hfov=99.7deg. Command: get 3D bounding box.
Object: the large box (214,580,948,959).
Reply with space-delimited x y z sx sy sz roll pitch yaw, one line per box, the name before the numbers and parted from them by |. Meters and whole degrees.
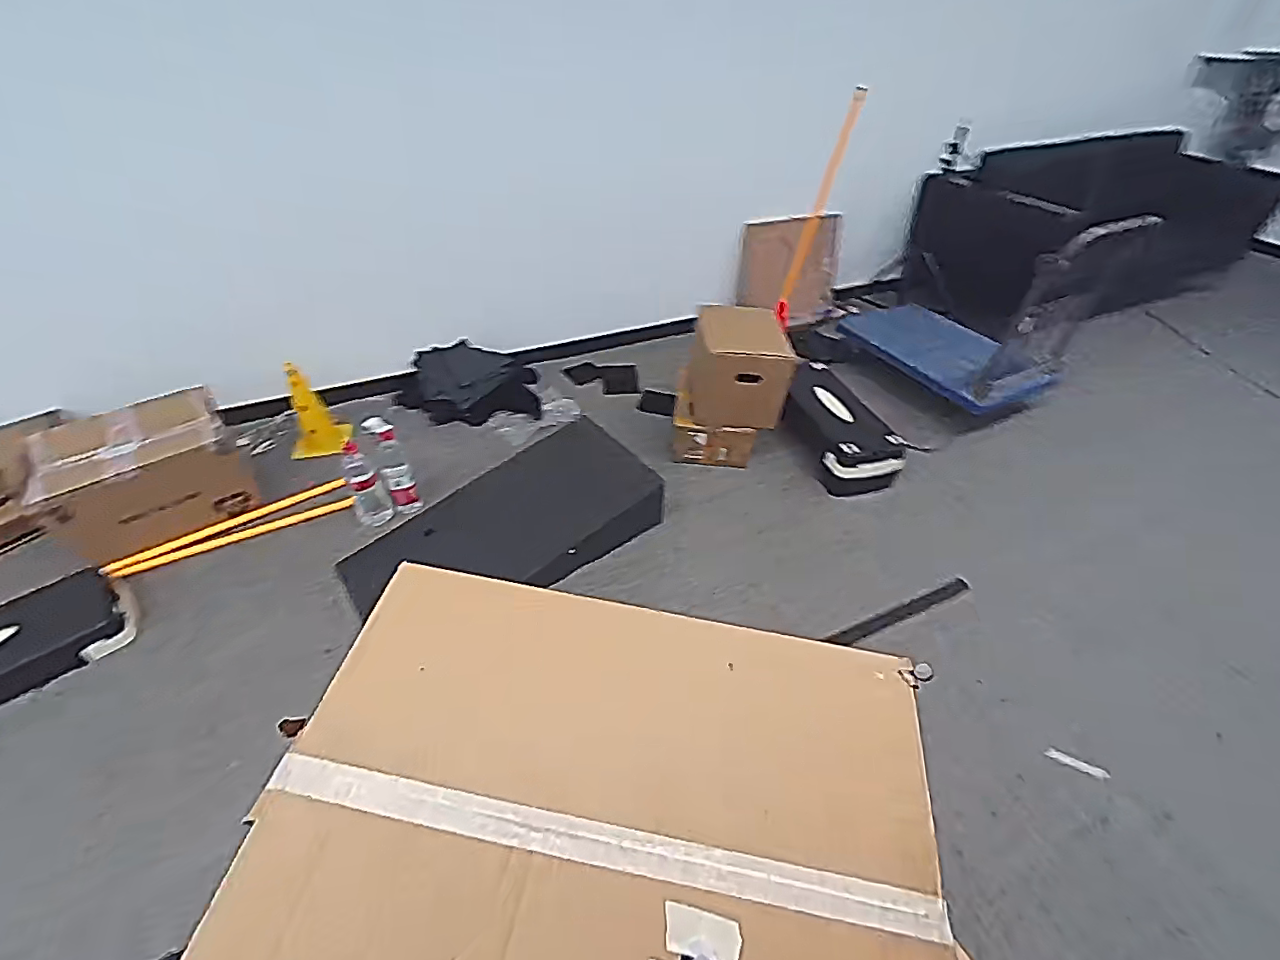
large box | -0.027 0.323 0.443 0.408 0.320 0.320 11 50 5
